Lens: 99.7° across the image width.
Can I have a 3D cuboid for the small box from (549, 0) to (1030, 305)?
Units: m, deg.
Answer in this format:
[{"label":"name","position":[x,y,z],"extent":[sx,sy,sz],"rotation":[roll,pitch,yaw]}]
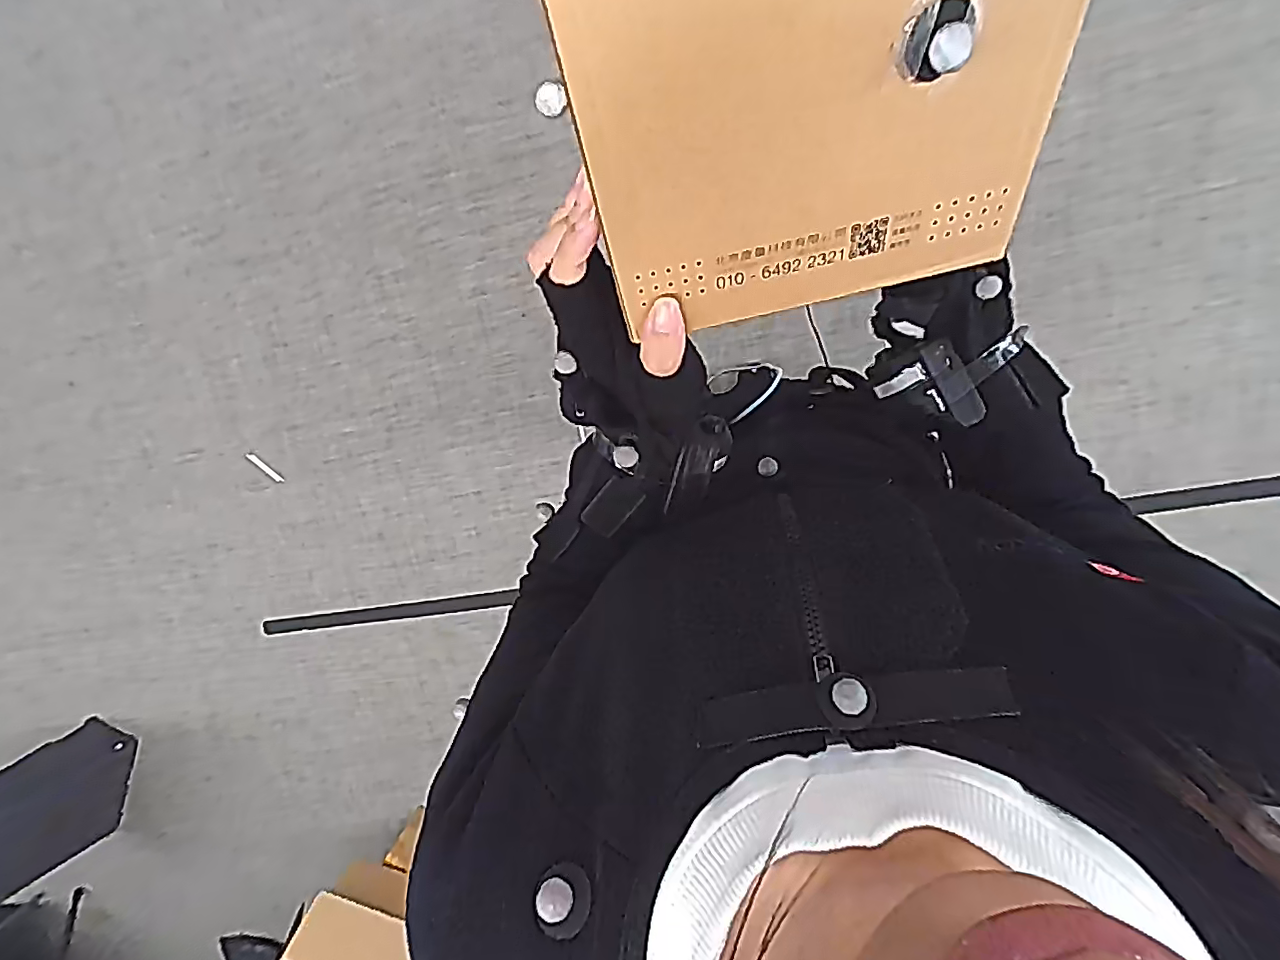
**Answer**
[{"label":"small box","position":[0.055,-0.201,0.252],"extent":[0.168,0.179,0.176],"rotation":[-11,140,5]}]
